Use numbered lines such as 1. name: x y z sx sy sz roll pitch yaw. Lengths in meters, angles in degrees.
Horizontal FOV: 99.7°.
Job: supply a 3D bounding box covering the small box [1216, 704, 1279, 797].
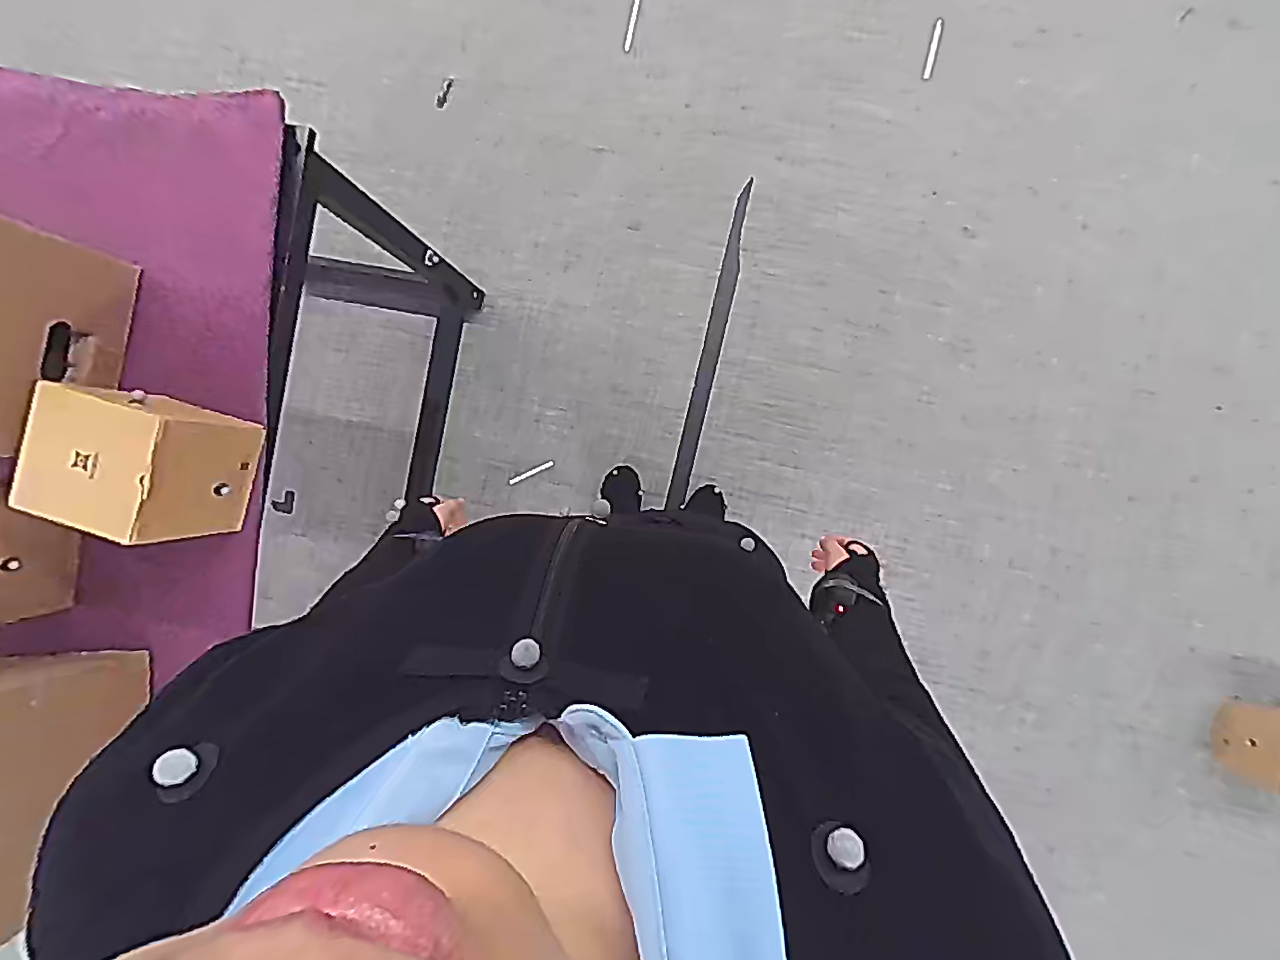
1. small box: 1.549 0.656 1.287 0.179 0.176 0.168 8 92 4
